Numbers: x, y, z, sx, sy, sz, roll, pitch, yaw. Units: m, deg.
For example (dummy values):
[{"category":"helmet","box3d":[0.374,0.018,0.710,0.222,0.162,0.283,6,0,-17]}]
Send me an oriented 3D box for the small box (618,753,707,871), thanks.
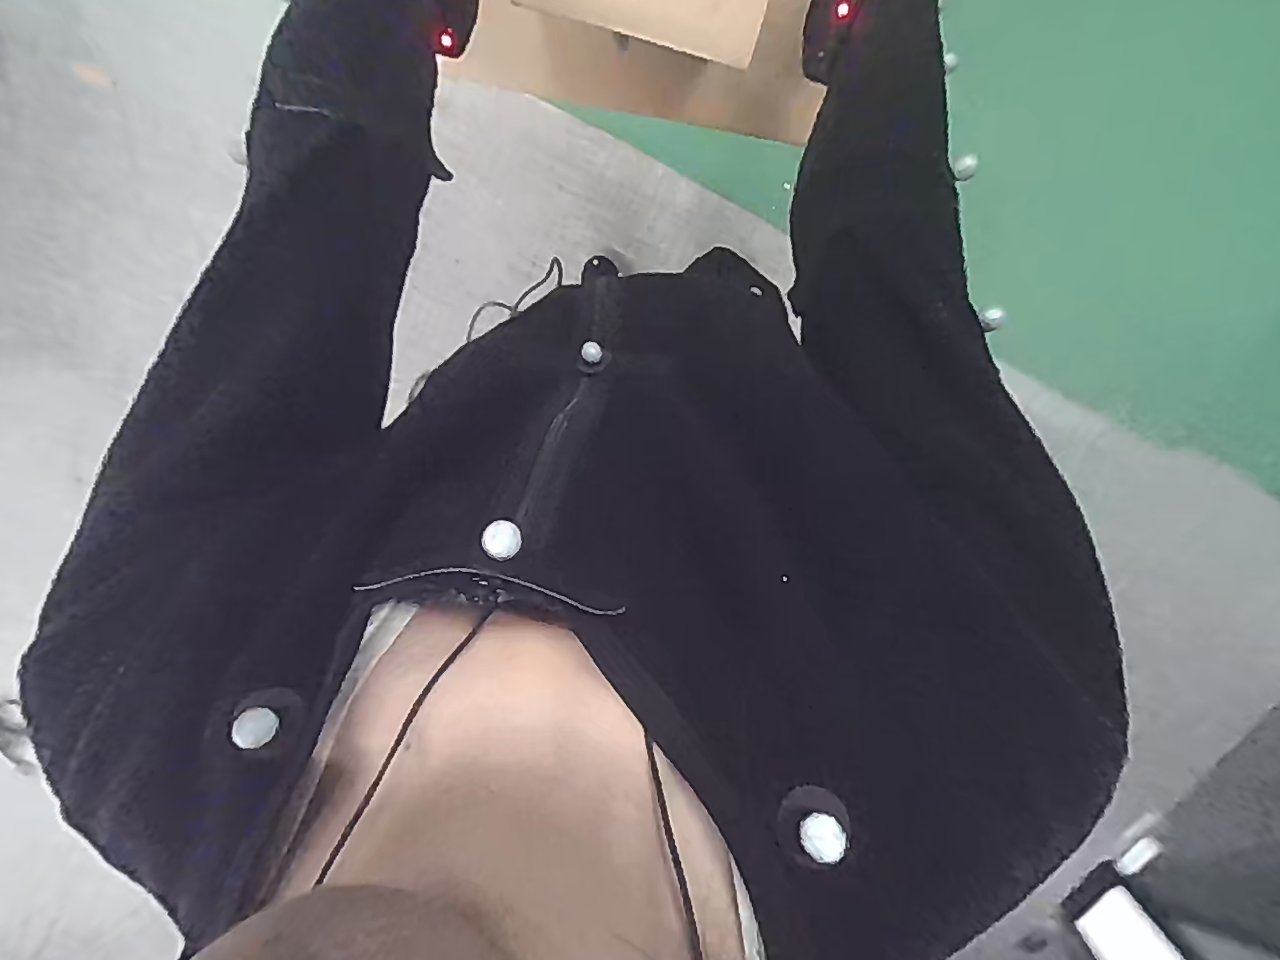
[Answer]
[{"category":"small box","box3d":[0.057,0.853,1.399,0.168,0.176,0.179,-28,107,8]}]
